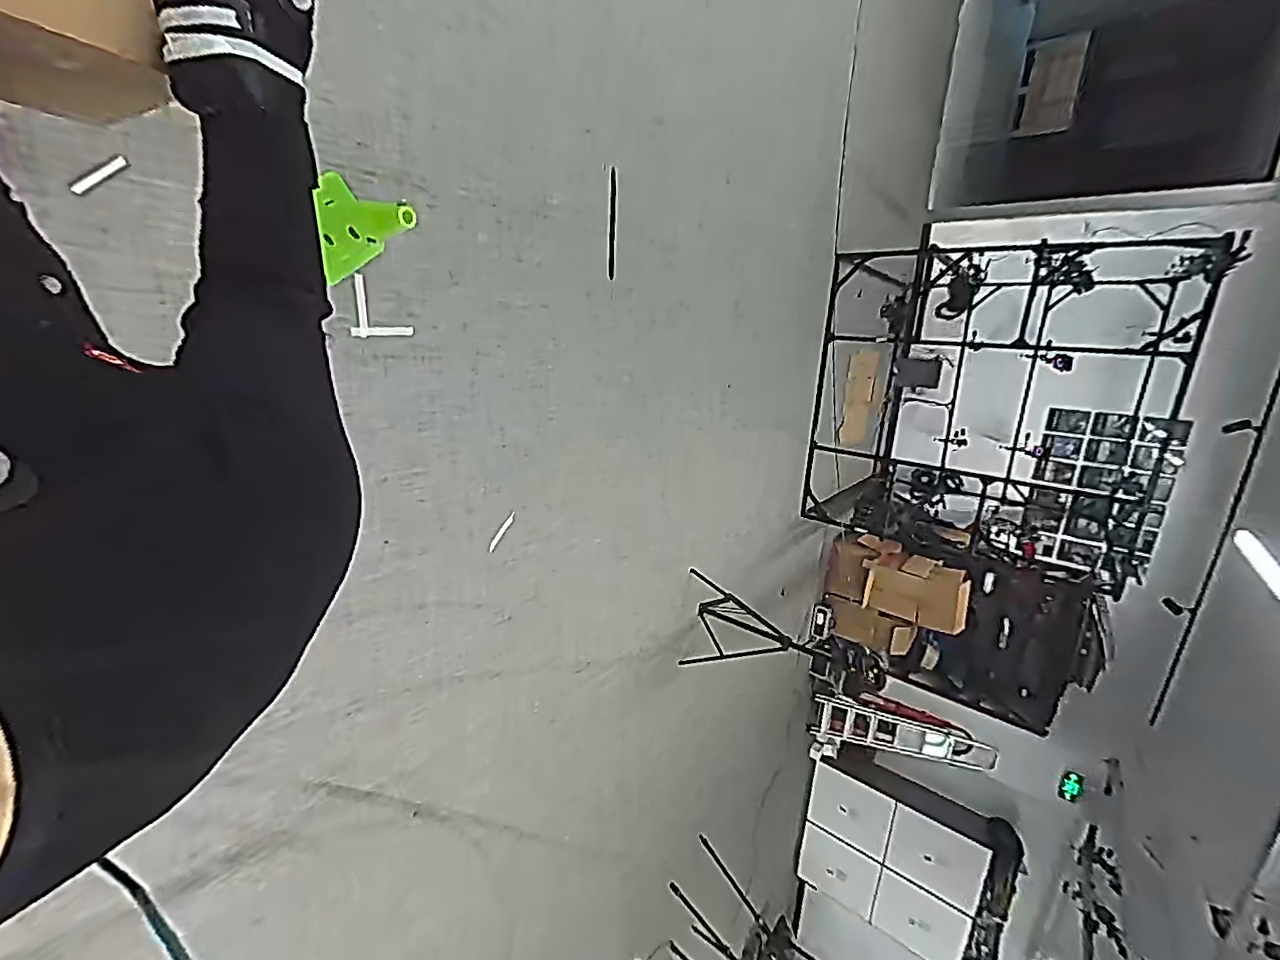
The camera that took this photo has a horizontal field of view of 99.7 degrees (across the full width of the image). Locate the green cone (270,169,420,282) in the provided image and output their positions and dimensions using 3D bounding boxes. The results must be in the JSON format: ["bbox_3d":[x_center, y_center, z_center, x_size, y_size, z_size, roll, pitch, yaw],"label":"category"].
[{"bbox_3d":[-0.620,-0.584,1.221,0.202,0.368,0.200,-56,141,-28],"label":"green cone"}]

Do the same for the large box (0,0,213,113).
[{"bbox_3d":[-0.522,-0.447,0.270,0.408,0.320,0.320,-12,116,-53],"label":"large box"}]
